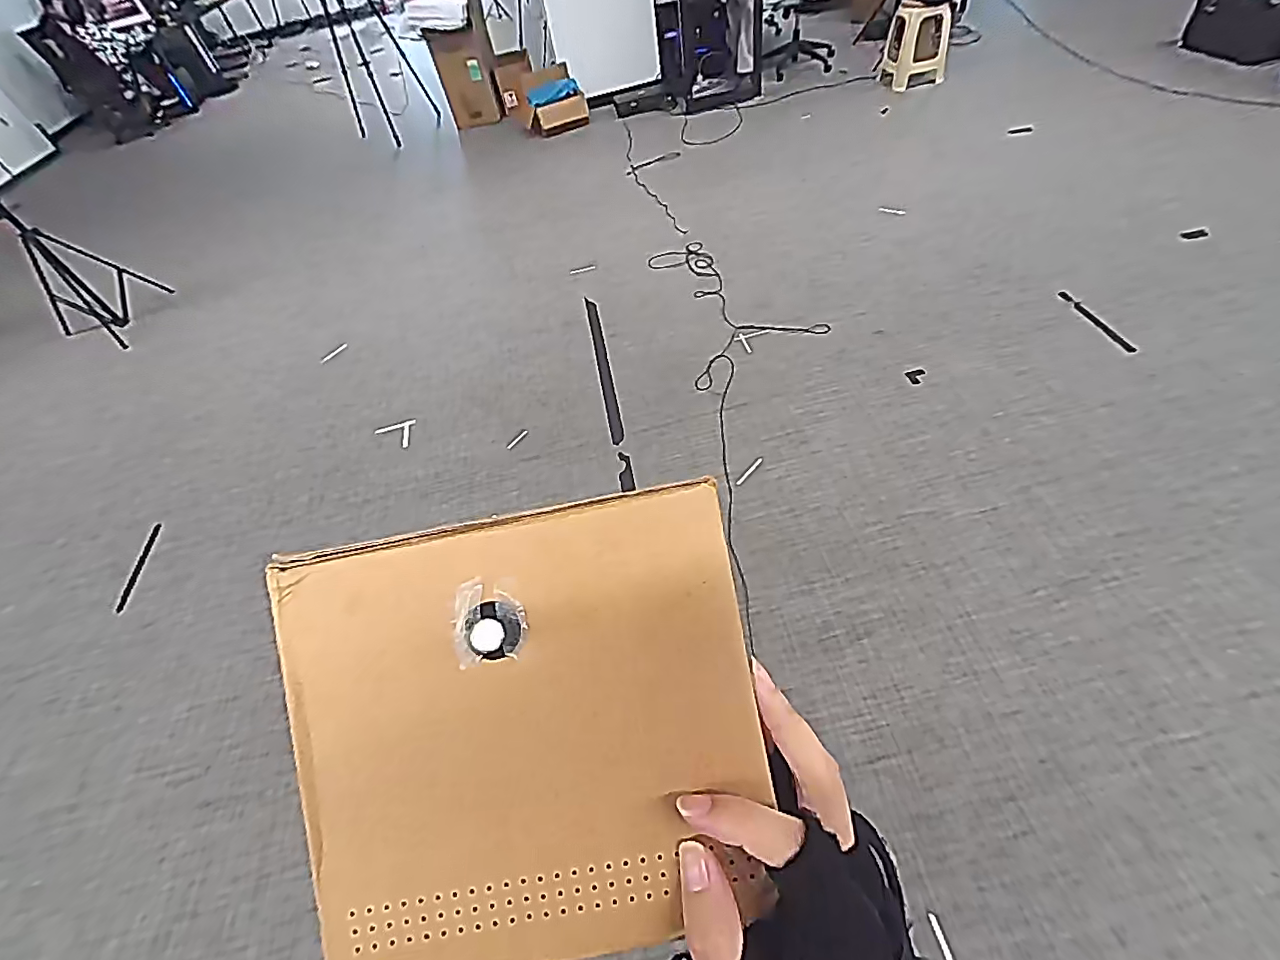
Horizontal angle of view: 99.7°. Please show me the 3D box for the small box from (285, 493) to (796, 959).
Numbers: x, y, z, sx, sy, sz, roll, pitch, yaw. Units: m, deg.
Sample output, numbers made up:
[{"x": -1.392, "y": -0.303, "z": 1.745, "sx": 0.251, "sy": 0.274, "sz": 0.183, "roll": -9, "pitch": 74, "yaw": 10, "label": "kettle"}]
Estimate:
[{"x": -0.037, "y": 0.106, "z": 0.282, "sx": 0.179, "sy": 0.168, "sz": 0.176, "roll": -10, "pitch": 88, "yaw": 1, "label": "small box"}]
